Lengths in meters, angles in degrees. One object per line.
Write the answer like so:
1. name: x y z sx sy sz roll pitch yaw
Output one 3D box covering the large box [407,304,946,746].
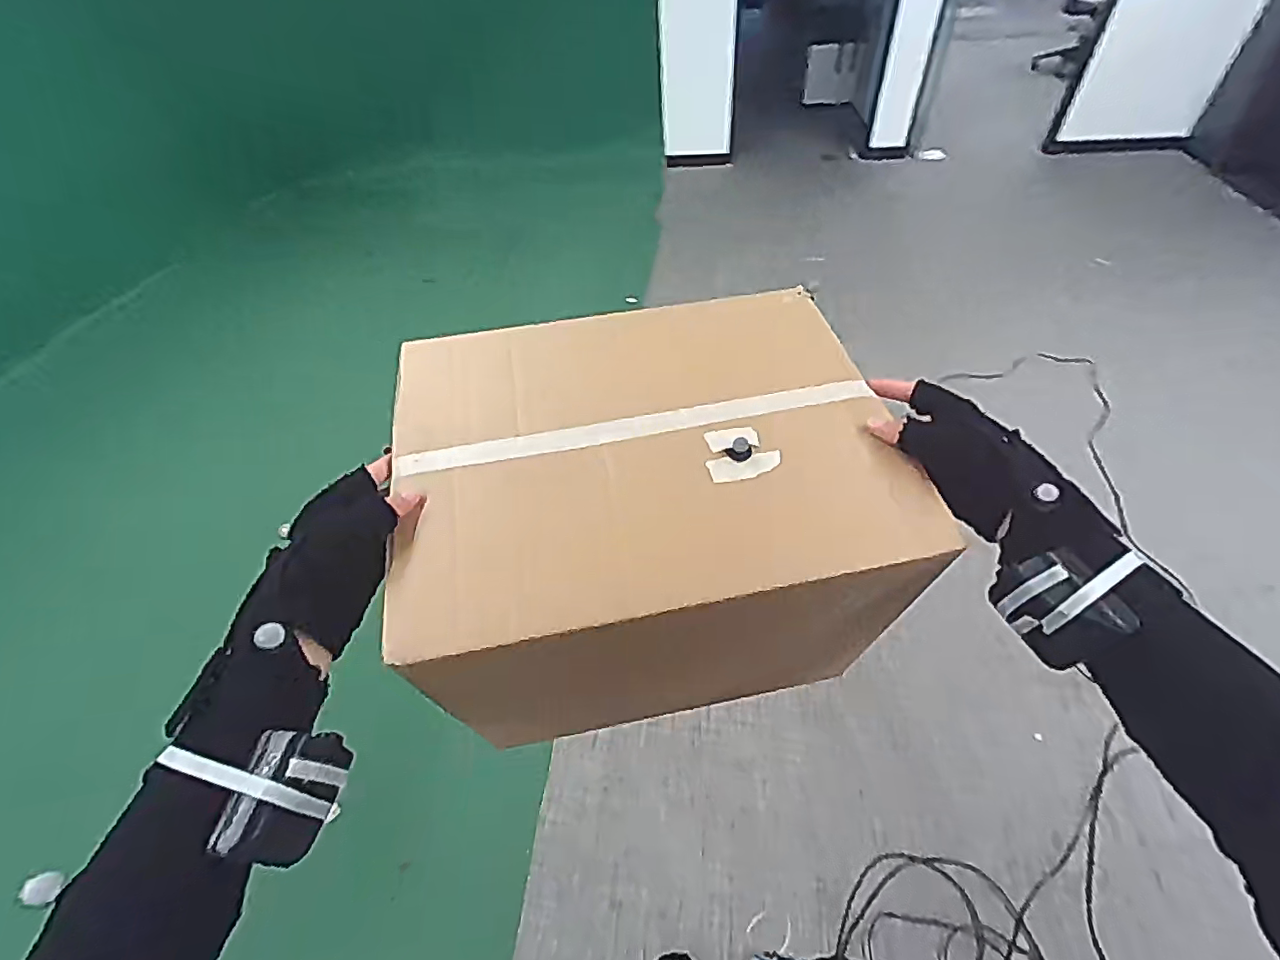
1. large box: 0.007 0.052 0.584 0.408 0.320 0.320 -9 55 -7
